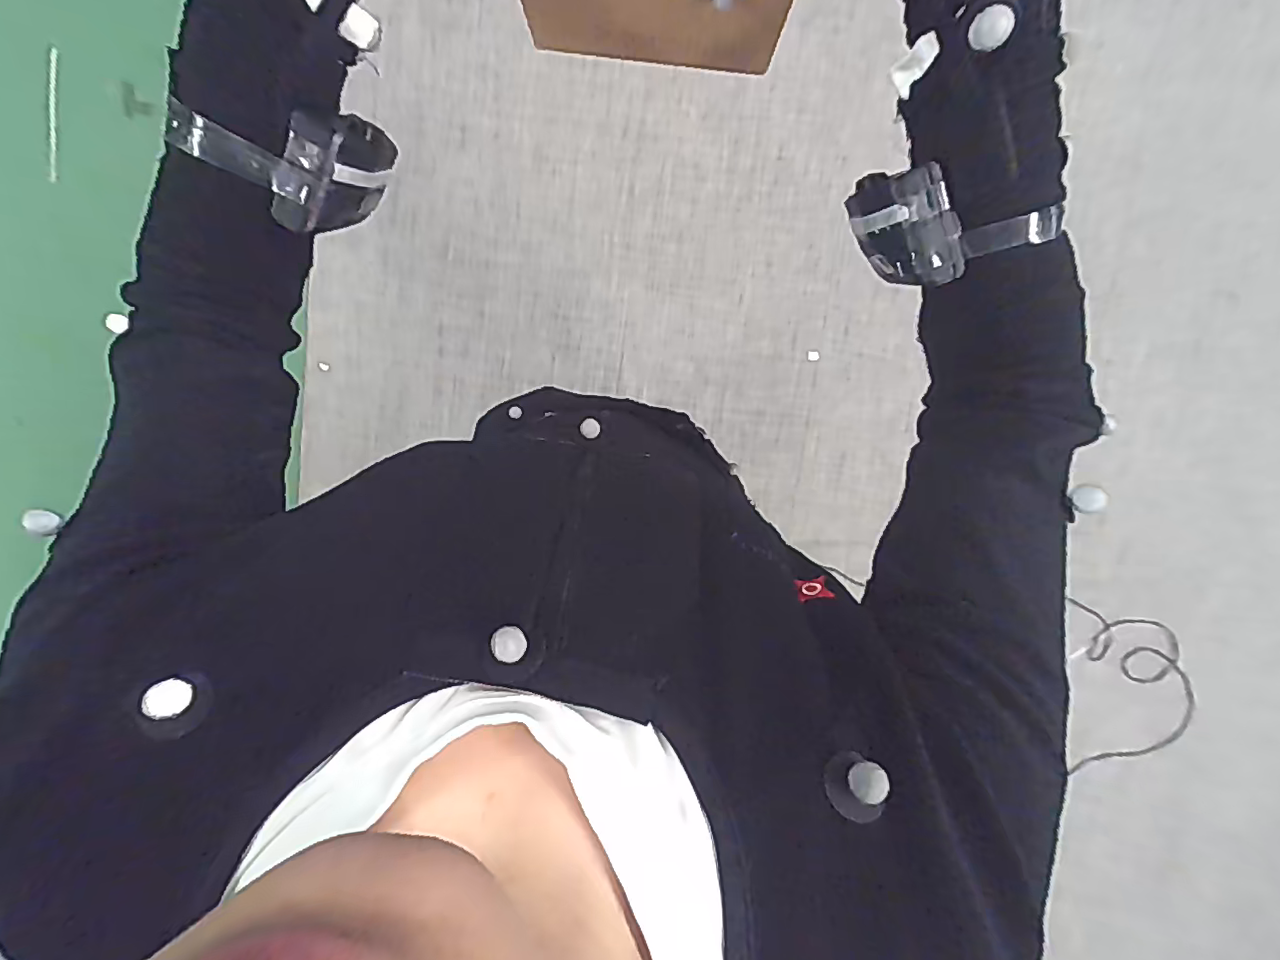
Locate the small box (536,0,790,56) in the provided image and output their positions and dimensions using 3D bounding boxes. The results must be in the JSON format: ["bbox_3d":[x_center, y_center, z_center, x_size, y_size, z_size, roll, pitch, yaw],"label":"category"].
[{"bbox_3d":[0.021,-0.385,0.309,0.179,0.176,0.168,5,98,0],"label":"small box"}]
